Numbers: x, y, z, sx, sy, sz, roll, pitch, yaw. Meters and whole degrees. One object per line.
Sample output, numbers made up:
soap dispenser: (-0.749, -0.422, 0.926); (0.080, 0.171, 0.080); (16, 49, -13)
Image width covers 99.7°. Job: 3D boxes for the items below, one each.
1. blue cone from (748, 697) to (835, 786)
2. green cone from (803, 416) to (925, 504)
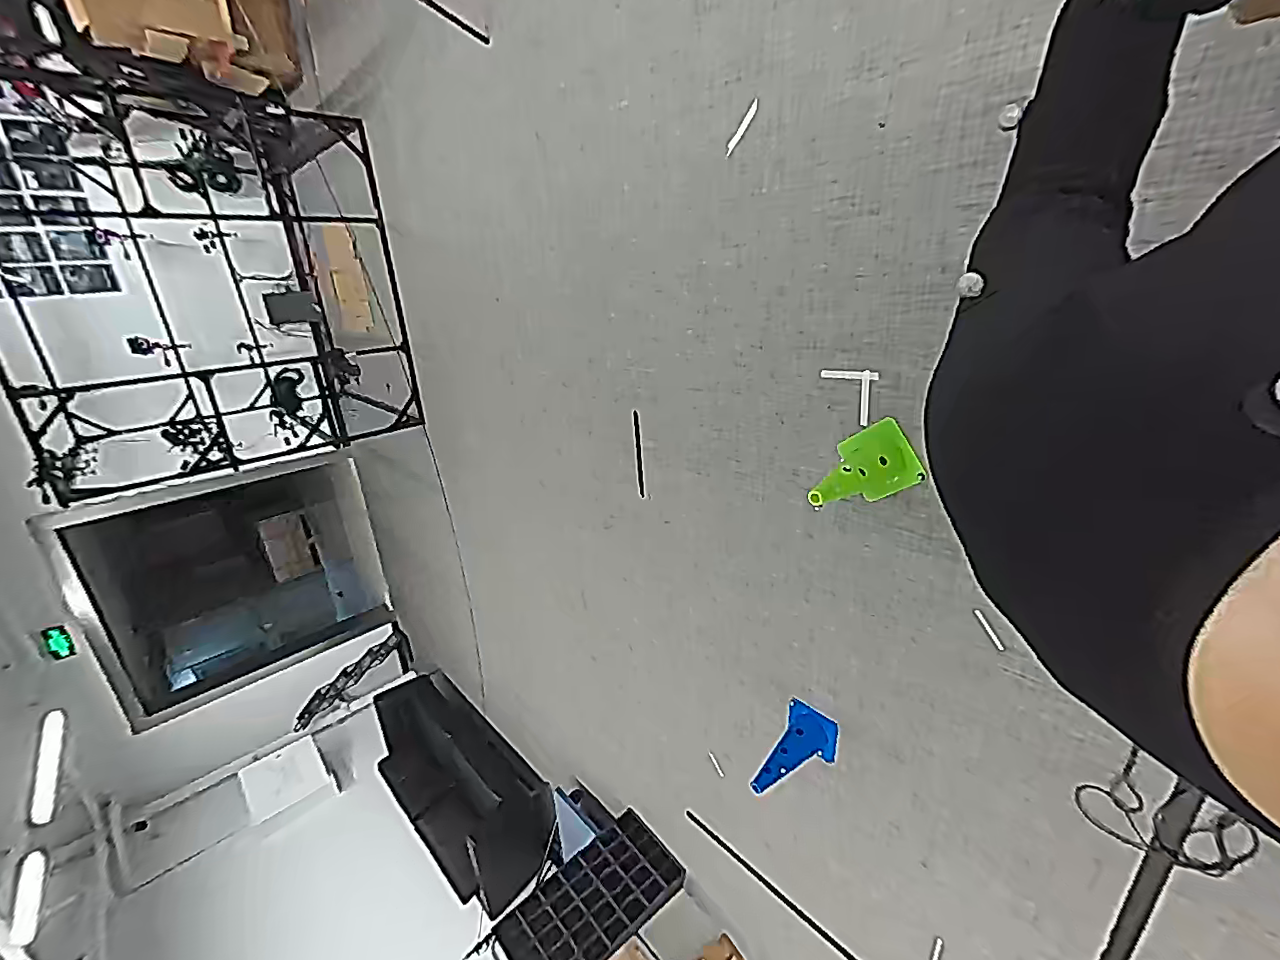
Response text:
blue cone: (0.532, 0.991, 1.968); (0.192, 0.380, 0.193); (23, 123, 44)
green cone: (0.559, -0.014, 1.448); (0.202, 0.368, 0.200); (-38, 76, 52)
